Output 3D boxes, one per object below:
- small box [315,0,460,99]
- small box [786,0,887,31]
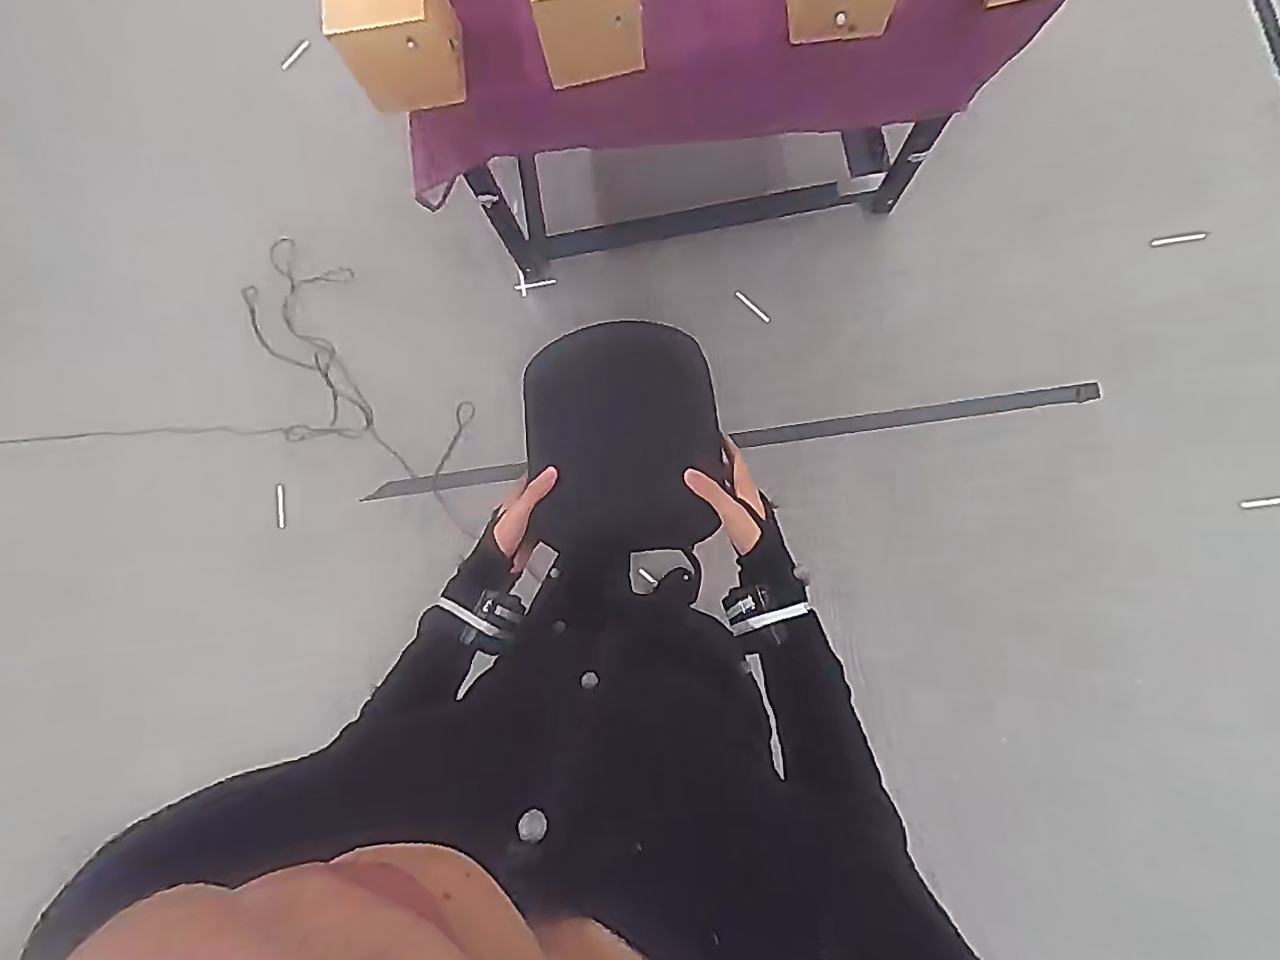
[{"bbox_3d":[-0.437,-0.810,0.948,0.179,0.176,0.168,-7,84,2],"label":"small box"},{"bbox_3d":[0.339,-0.907,0.901,0.168,0.176,0.179,-3,86,4],"label":"small box"}]
